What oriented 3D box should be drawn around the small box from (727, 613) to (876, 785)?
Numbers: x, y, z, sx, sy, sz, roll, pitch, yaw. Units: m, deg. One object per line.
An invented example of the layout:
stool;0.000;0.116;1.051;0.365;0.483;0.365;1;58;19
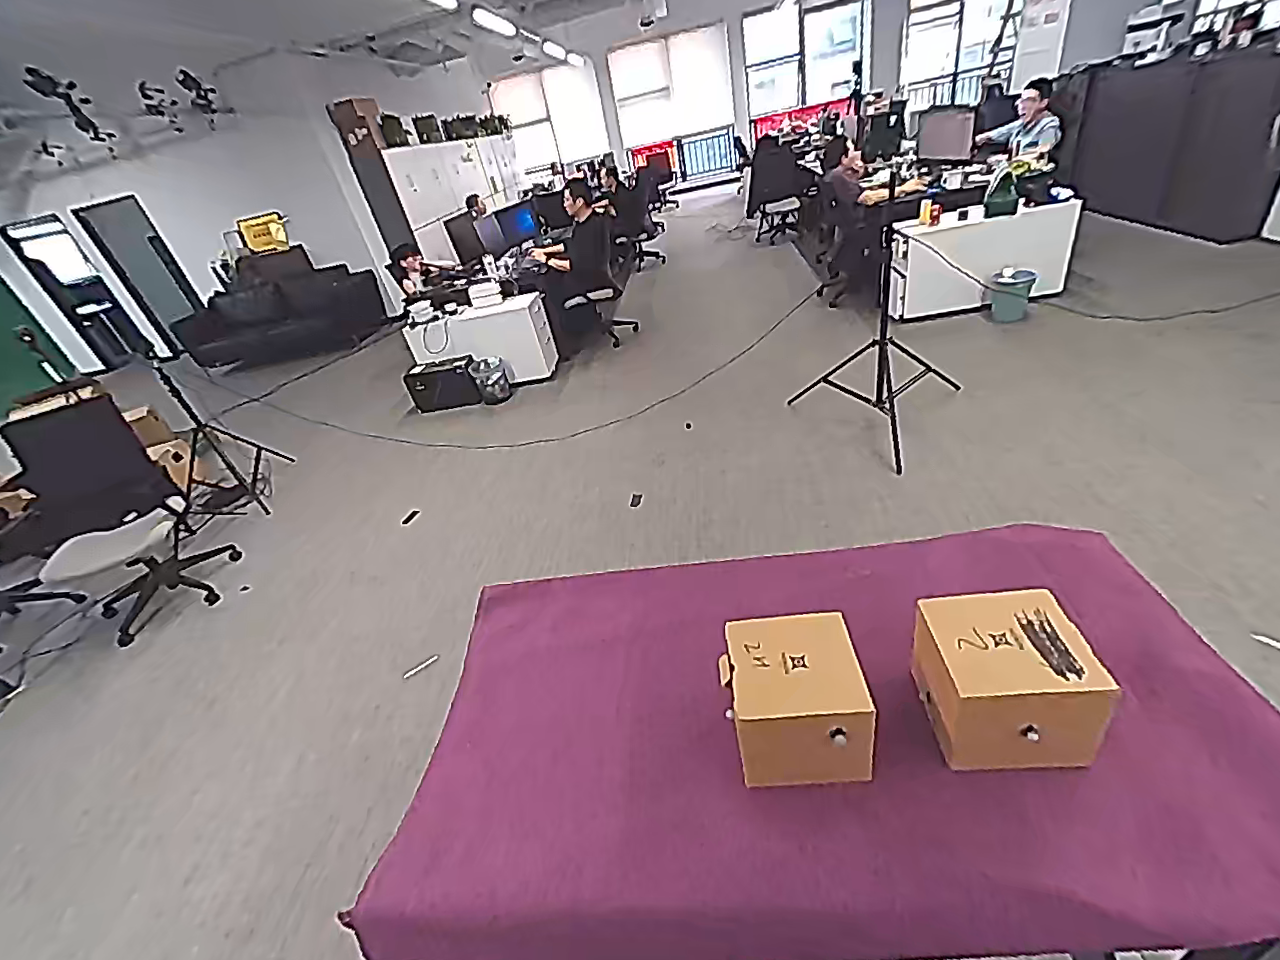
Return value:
small box;0.228;0.320;0.790;0.179;0.176;0.168;-9;32;8
